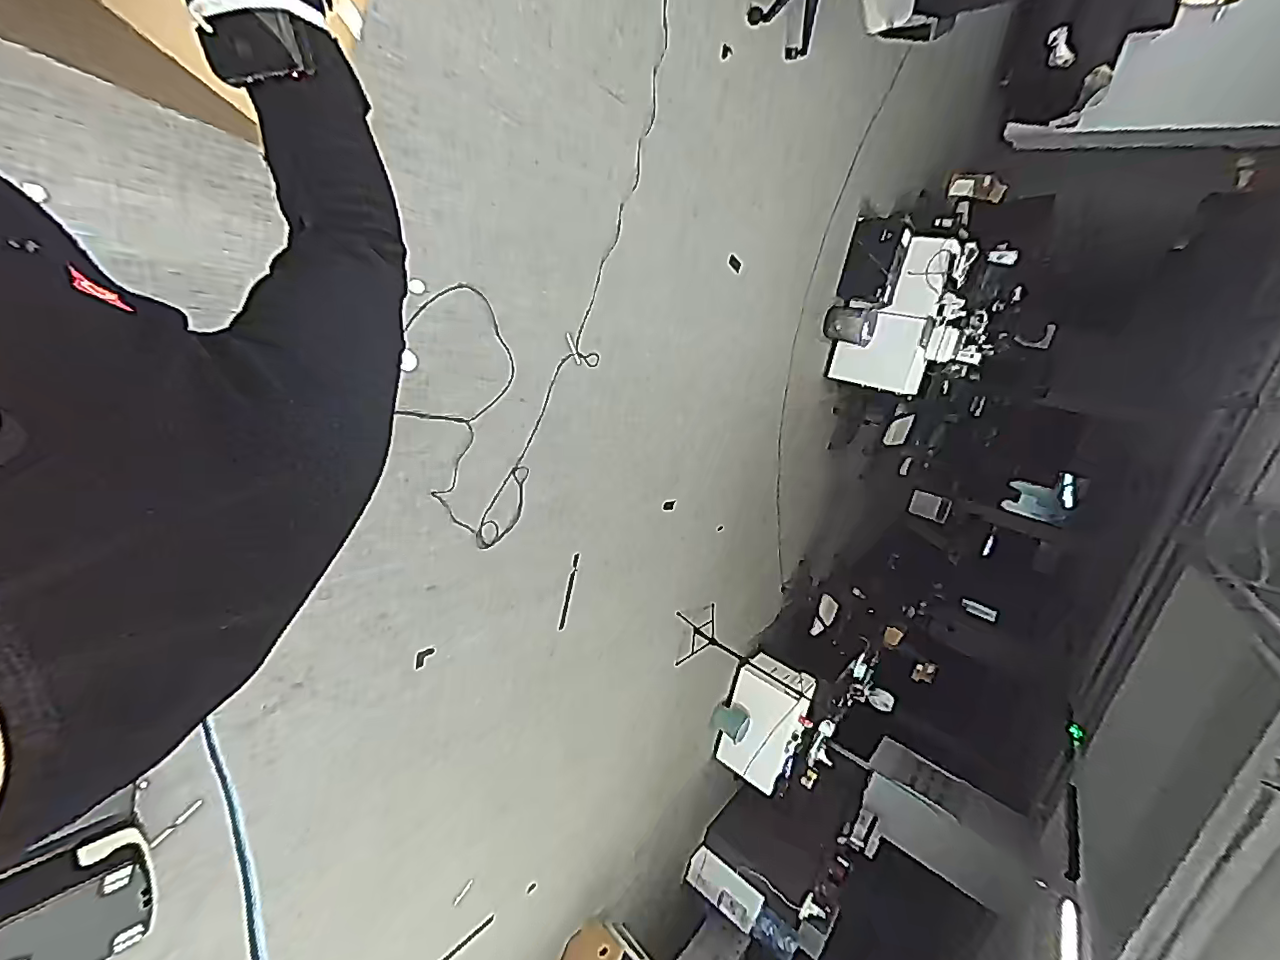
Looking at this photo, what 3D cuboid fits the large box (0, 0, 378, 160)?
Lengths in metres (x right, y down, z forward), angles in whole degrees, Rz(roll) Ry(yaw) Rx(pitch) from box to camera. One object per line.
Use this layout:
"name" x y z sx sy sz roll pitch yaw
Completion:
"large box" -0.495 -0.561 0.457 0.320 0.408 0.320 -52 166 -85

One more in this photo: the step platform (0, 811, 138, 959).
"step platform" -1.480 1.014 1.093 0.684 0.204 0.286 -12 118 -49
